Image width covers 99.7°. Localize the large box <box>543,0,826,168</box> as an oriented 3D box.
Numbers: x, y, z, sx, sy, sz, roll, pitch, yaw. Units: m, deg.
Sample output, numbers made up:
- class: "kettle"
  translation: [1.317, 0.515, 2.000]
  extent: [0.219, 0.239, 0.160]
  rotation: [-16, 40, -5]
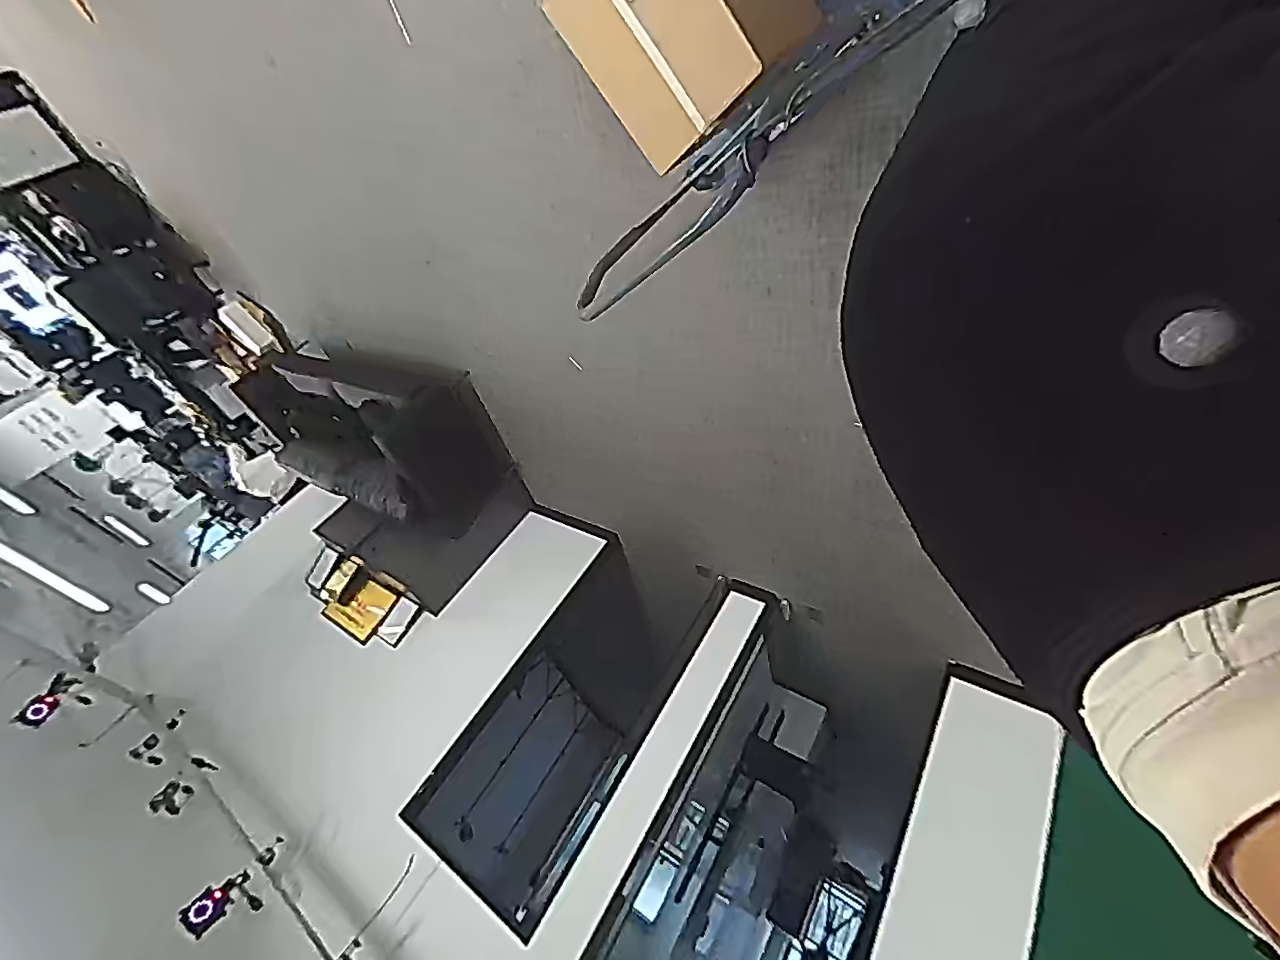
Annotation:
- class: "large box"
  translation: [0.092, -0.946, 1.081]
  extent: [0.408, 0.320, 0.320]
  rotation: [49, 149, -16]
